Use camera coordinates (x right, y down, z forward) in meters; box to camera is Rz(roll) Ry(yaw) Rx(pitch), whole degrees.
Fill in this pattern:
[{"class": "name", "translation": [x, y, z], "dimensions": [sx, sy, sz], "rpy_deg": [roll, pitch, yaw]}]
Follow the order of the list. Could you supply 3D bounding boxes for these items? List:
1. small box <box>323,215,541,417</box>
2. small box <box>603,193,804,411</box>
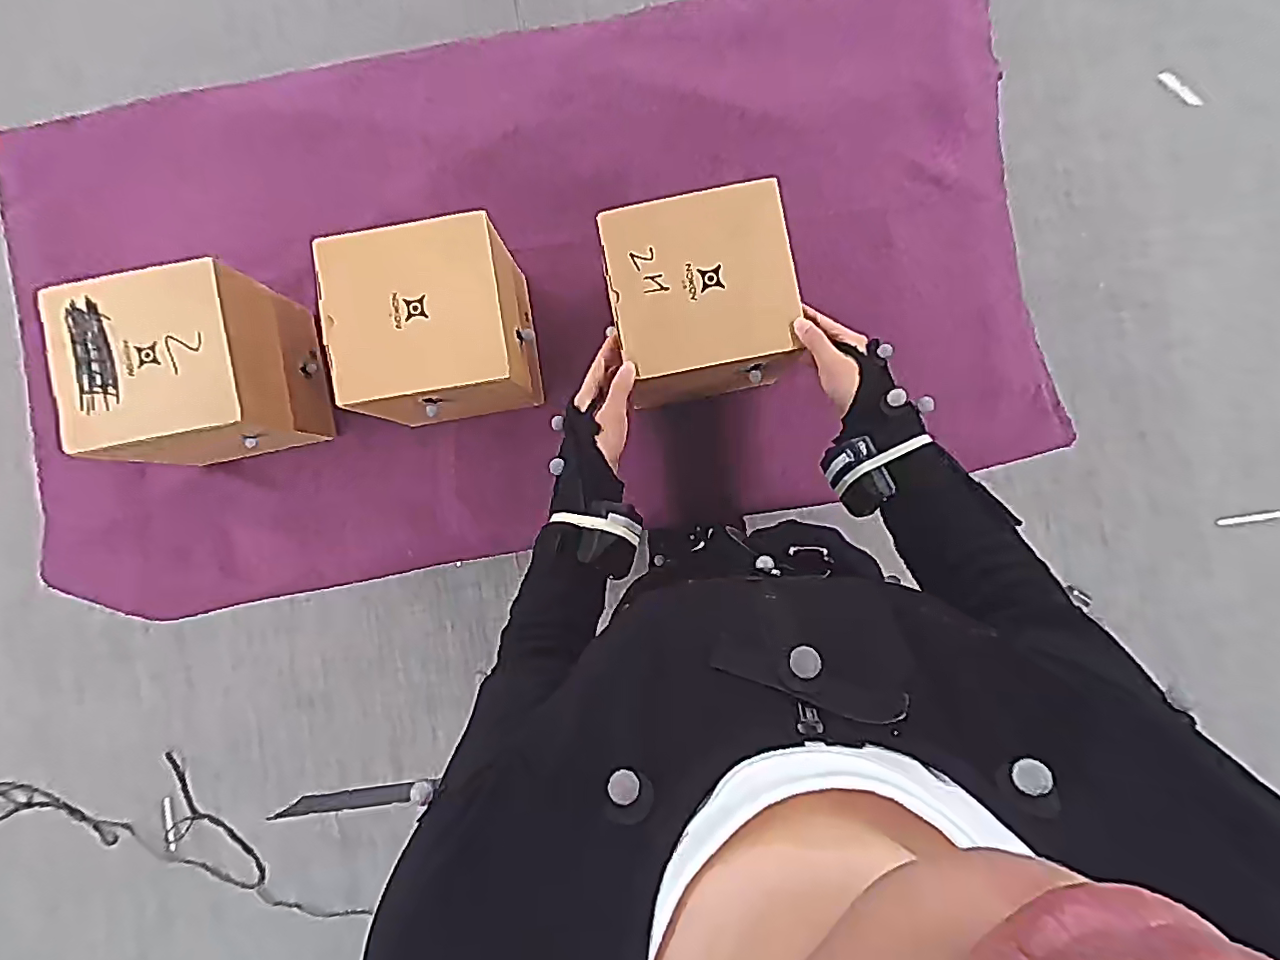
[{"class": "small box", "translation": [-0.216, -0.169, 0.609], "dimensions": [0.179, 0.176, 0.168], "rpy_deg": [-6, 88, 4]}, {"class": "small box", "translation": [0.062, -0.177, 0.588], "dimensions": [0.179, 0.176, 0.168], "rpy_deg": [-7, 87, 3]}]
